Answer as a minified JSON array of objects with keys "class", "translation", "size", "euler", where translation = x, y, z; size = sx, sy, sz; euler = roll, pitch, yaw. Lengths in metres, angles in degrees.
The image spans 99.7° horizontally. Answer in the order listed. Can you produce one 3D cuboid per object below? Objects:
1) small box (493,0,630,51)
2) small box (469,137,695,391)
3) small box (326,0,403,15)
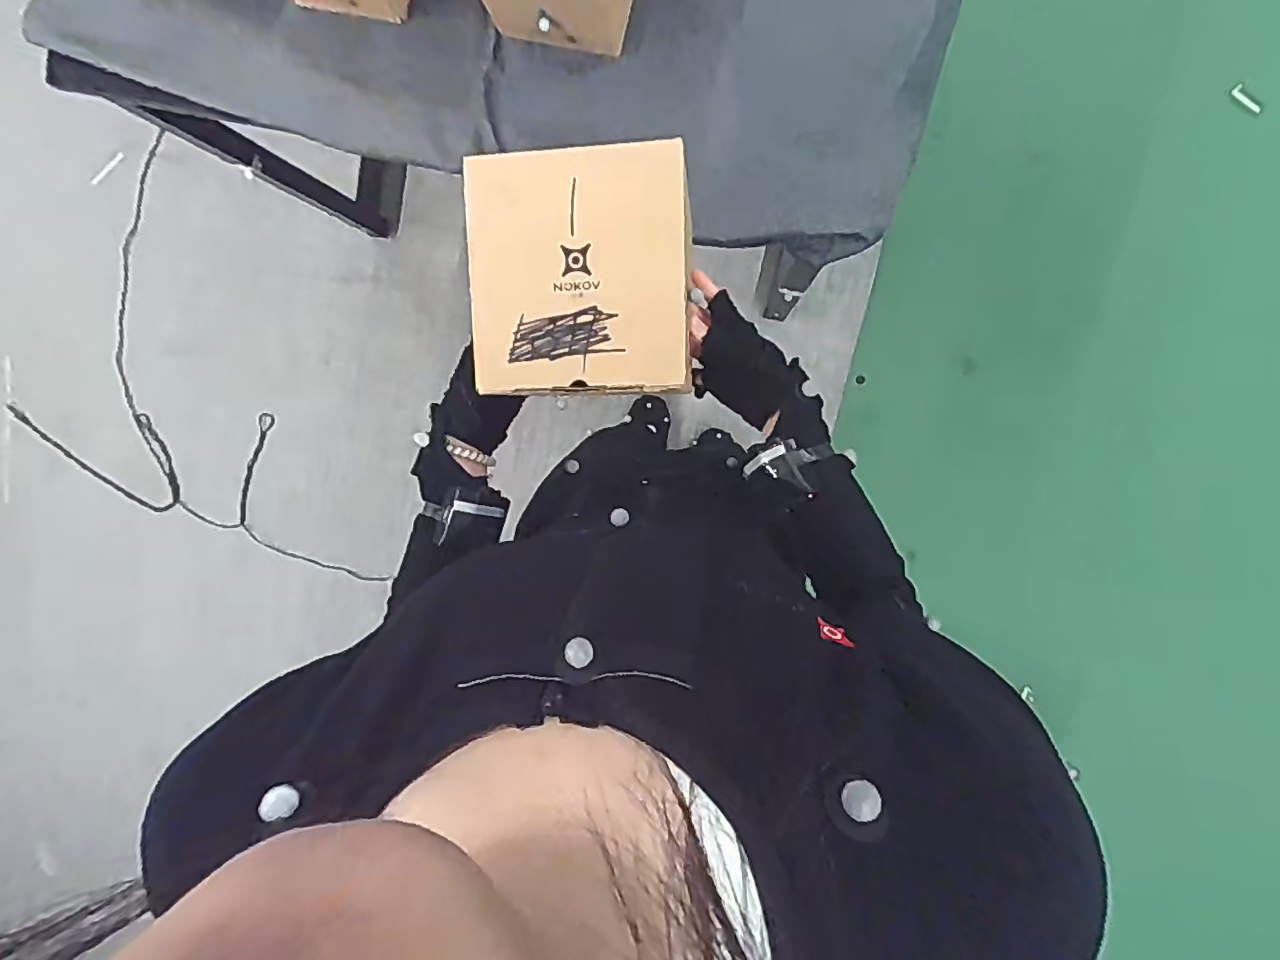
[{"class":"small box","translation":[-0.093,-0.638,0.603],"size":[0.168,0.176,0.179],"euler":[15,99,5]},{"class":"small box","translation":[-0.036,-0.169,0.482],"size":[0.168,0.176,0.179],"euler":[0,98,6]},{"class":"small box","translation":[-0.382,-0.709,0.631],"size":[0.168,0.176,0.179],"euler":[14,99,4]}]
